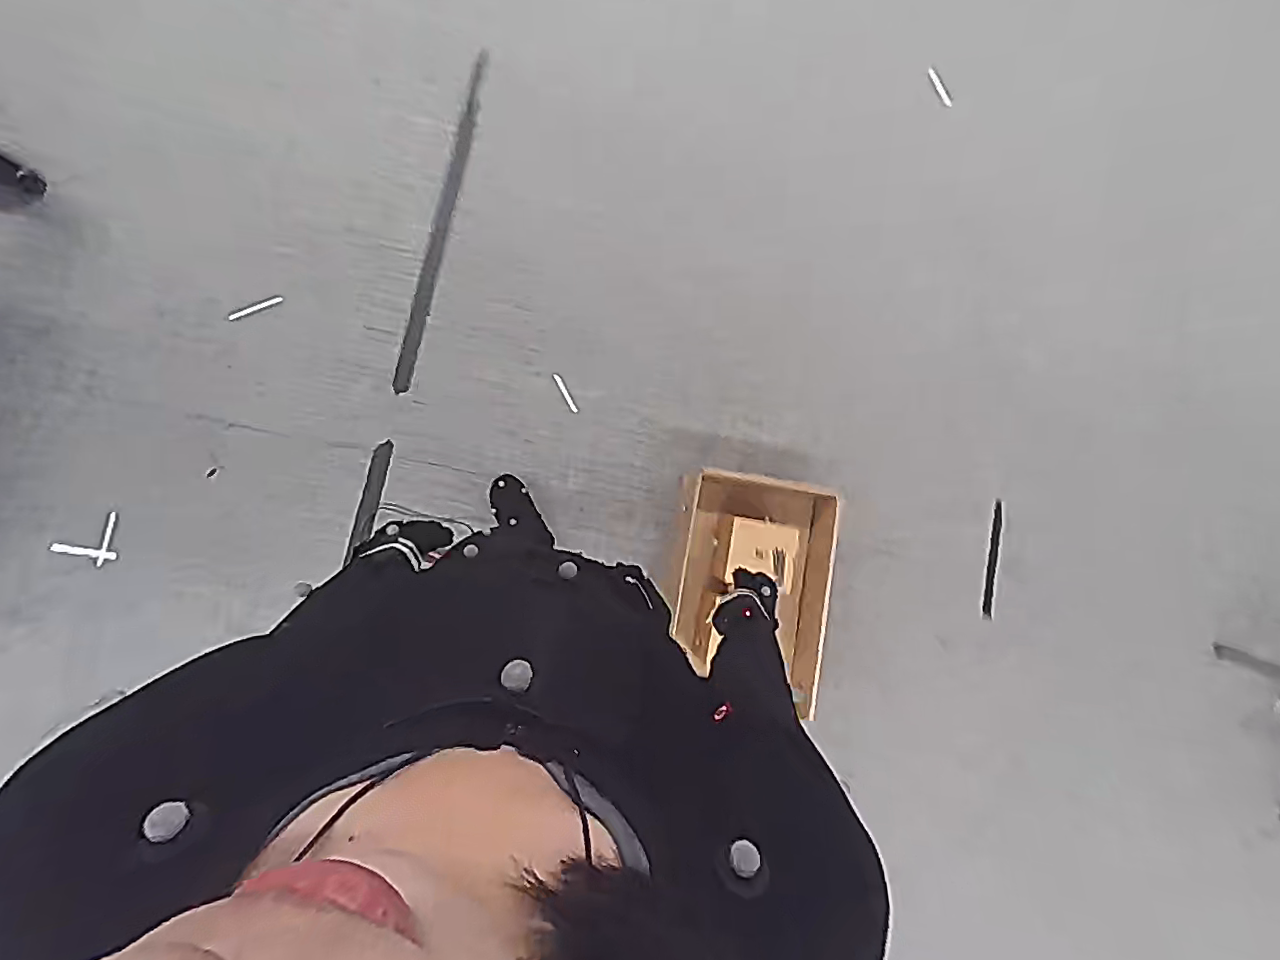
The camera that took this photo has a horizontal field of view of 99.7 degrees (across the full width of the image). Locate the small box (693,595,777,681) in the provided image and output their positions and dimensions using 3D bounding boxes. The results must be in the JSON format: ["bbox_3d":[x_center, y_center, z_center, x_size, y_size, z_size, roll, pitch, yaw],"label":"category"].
[{"bbox_3d":[0.244,0.412,1.429,0.168,0.176,0.179,11,82,-7],"label":"small box"}]
